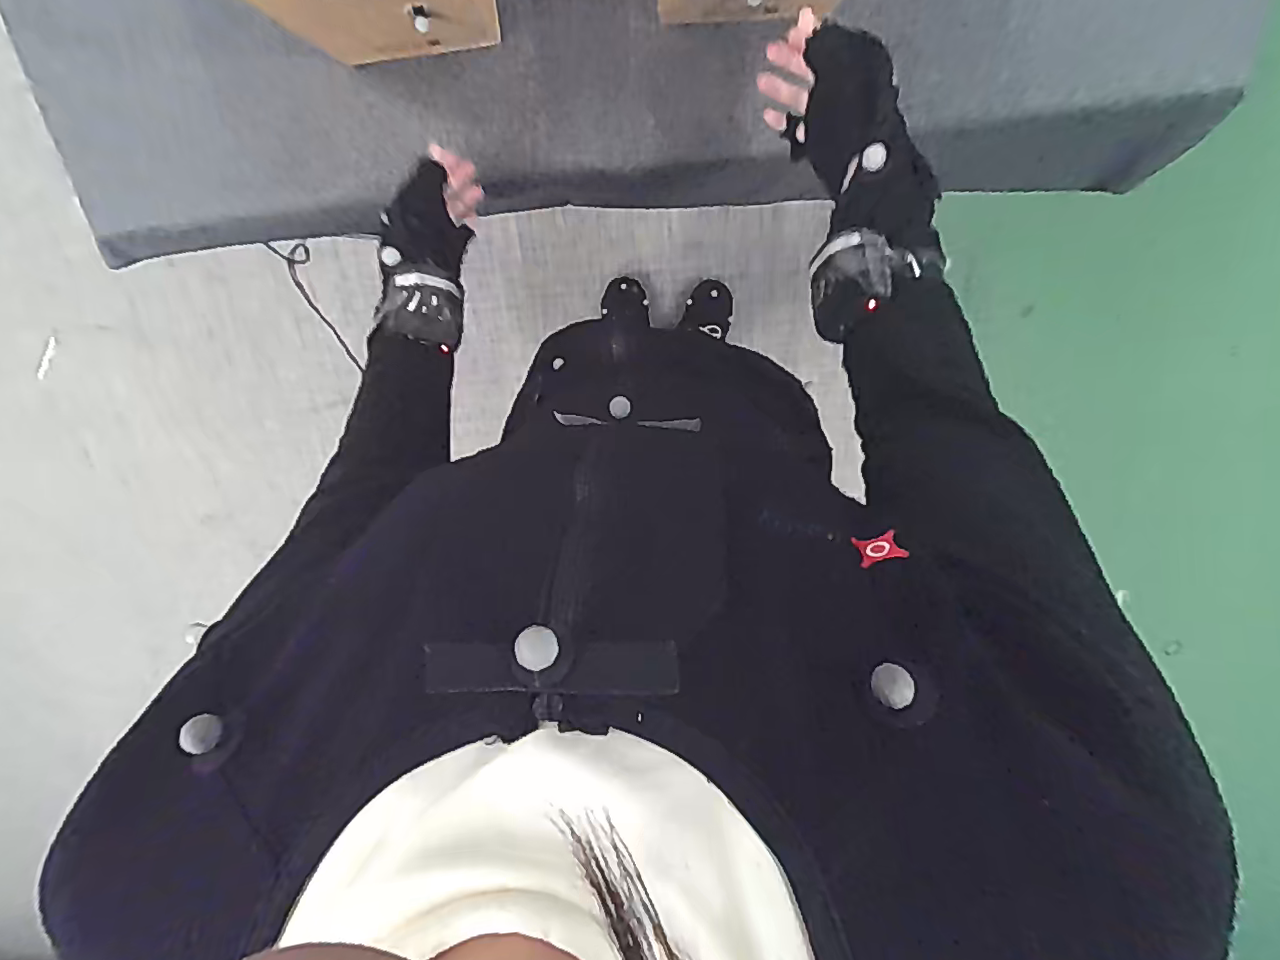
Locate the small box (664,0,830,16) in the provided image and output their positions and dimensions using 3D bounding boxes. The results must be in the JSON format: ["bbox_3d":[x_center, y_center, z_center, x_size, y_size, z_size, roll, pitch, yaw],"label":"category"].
[{"bbox_3d":[0.092,-0.495,0.417,0.168,0.176,0.179,0,112,5],"label":"small box"}]

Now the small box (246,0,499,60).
[{"bbox_3d":[-0.230,-0.483,0.450,0.168,0.176,0.179,-4,110,5],"label":"small box"}]
